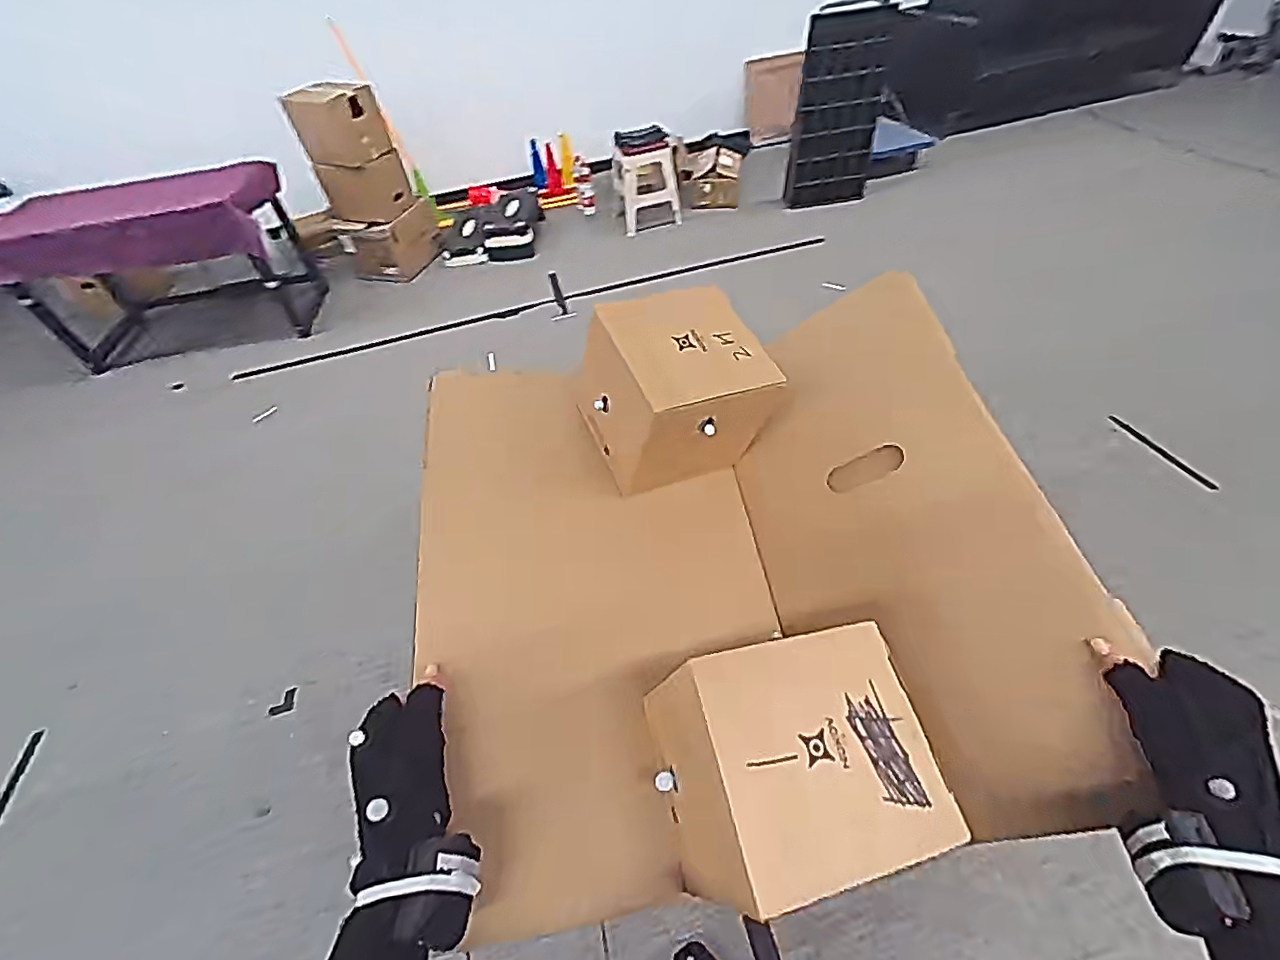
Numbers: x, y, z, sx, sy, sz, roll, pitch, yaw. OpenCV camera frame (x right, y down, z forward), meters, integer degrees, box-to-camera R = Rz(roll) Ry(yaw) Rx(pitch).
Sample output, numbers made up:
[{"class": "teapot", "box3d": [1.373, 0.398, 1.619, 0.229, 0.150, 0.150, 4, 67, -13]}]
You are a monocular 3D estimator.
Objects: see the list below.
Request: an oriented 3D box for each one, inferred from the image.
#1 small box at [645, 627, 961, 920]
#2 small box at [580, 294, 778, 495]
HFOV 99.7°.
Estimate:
[{"class": "small box", "box3d": [0.119, 0.244, 0.471, 0.179, 0.176, 0.168, -6, 60, -17]}, {"class": "small box", "box3d": [0.032, -0.103, 0.675, 0.179, 0.176, 0.168, -16, 63, -24]}]
